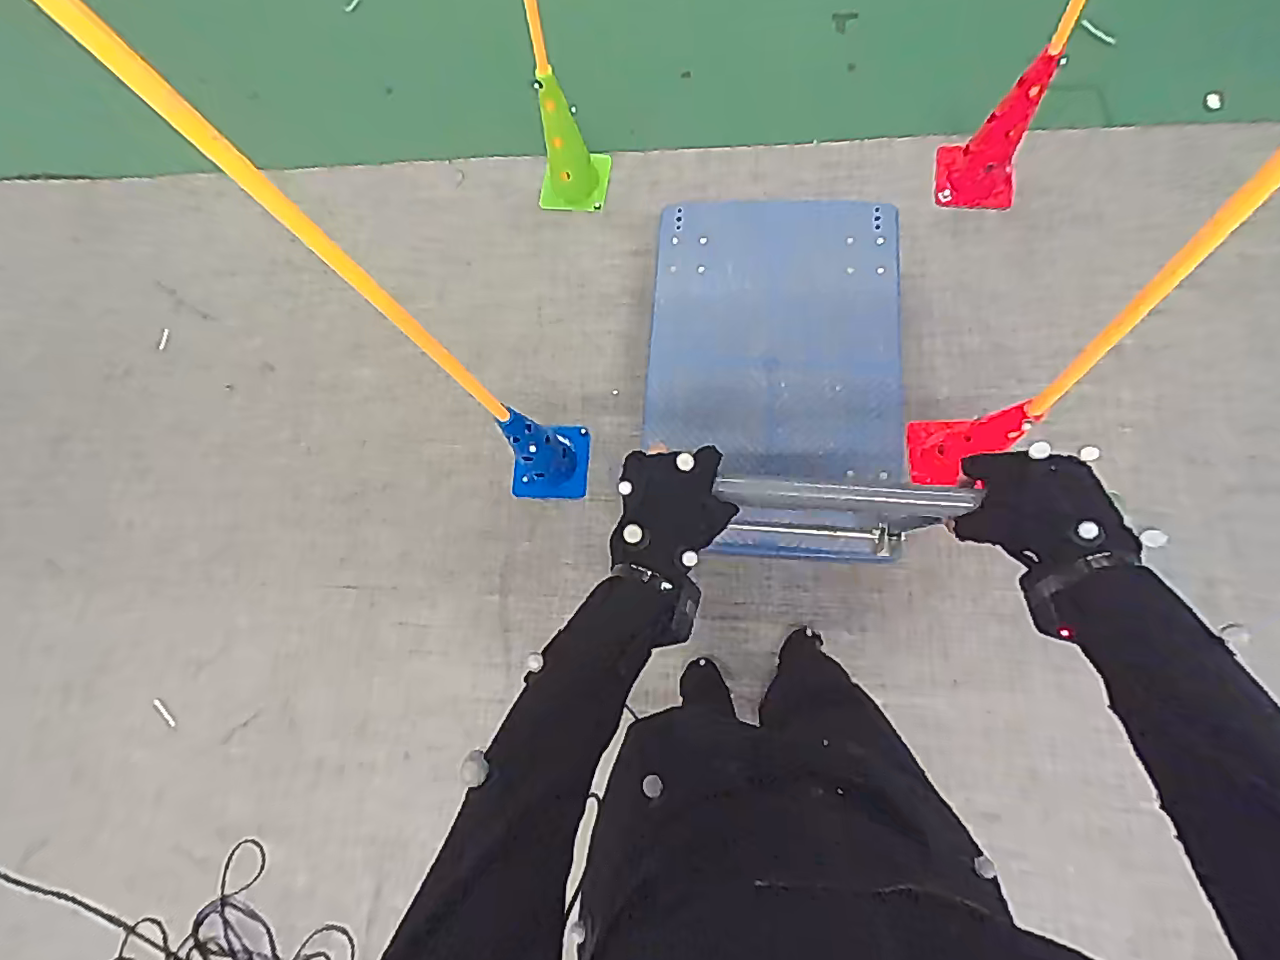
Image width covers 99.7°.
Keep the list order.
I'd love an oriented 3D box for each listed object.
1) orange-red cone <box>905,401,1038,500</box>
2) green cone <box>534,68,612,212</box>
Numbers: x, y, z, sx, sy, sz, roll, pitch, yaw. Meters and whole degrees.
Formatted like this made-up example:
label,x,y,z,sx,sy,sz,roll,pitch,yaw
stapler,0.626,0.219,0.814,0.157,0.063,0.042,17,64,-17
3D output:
label,x,y,z,sx,sy,sz,roll,pitch,yaw
orange-red cone,0.744,-0.088,1.177,0.199,0.360,0.198,1,76,8
green cone,-0.212,-0.945,1.481,0.202,0.368,0.200,6,77,8
